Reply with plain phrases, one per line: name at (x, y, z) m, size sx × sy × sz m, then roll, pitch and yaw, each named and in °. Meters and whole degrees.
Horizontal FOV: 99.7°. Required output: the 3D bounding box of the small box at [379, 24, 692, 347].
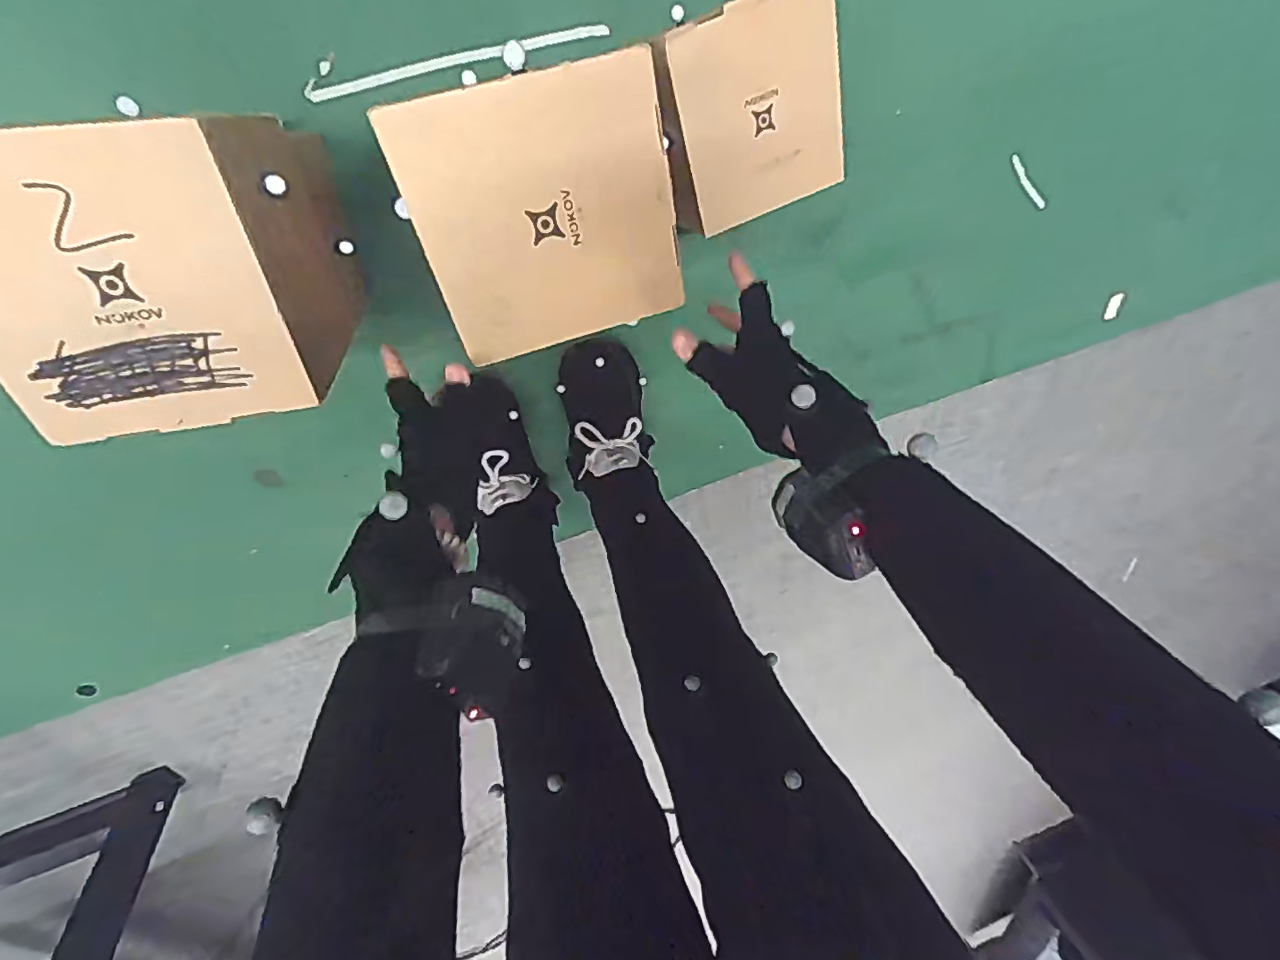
small box at (-0.076, -0.229, 0.427) m, size 0.179 × 0.176 × 0.168 m, roll -19°, pitch 127°, yaw -8°

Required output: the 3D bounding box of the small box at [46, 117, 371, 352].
small box at (-0.375, -0.241, 0.517) m, size 0.168 × 0.176 × 0.179 m, roll -10°, pitch 126°, yaw -12°

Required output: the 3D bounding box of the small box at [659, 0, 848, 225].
small box at (0.100, -0.401, 0.580) m, size 0.168 × 0.176 × 0.179 m, roll -23°, pitch 127°, yaw -4°
